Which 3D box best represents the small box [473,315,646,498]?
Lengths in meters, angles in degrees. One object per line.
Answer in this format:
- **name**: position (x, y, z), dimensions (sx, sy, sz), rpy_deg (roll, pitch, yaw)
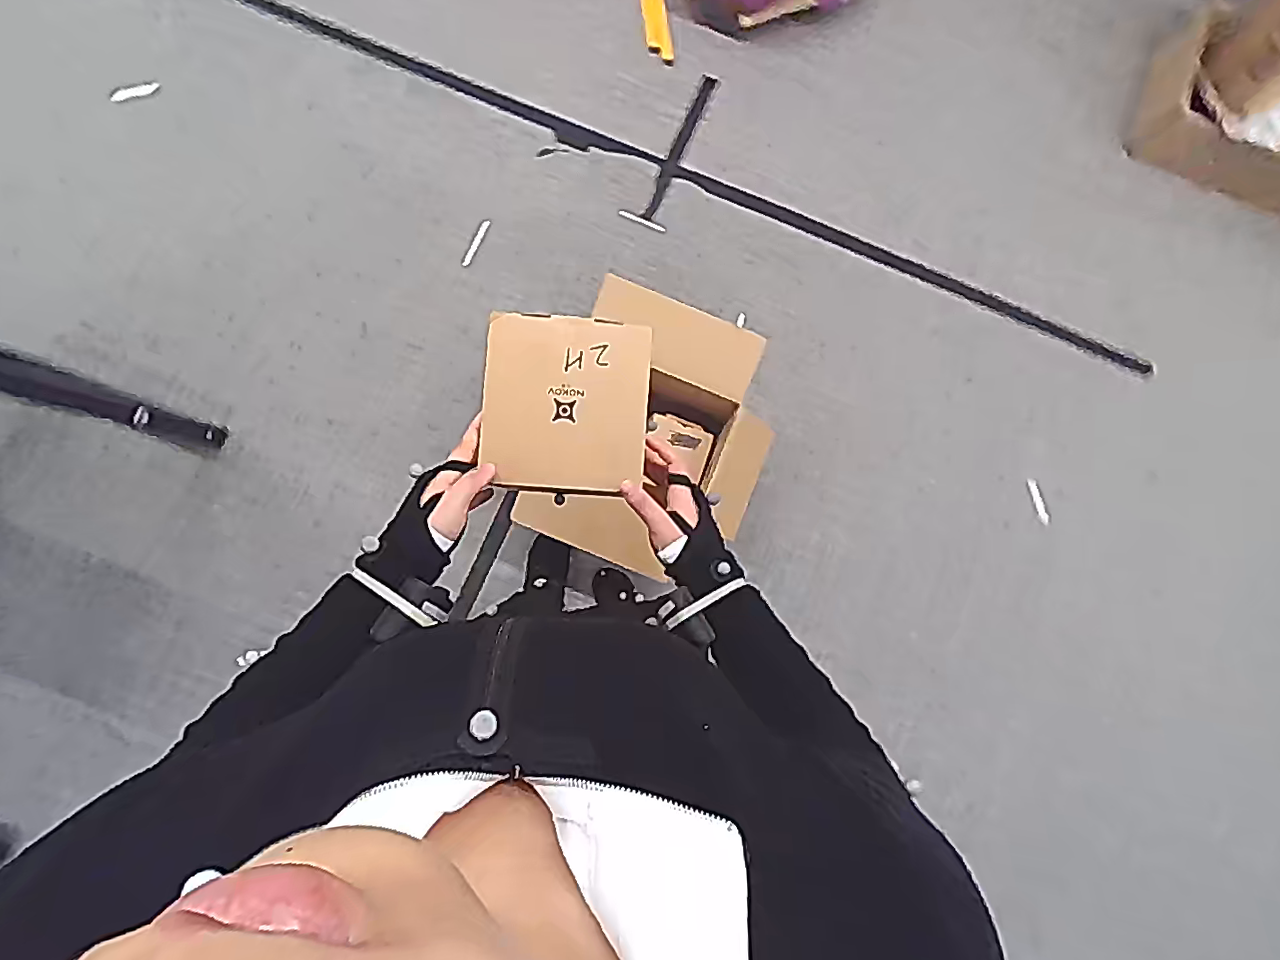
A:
- **small box**: position (-0.085, -0.070, 0.621), dimensions (0.168, 0.176, 0.179), rpy_deg (3, 86, -5)
